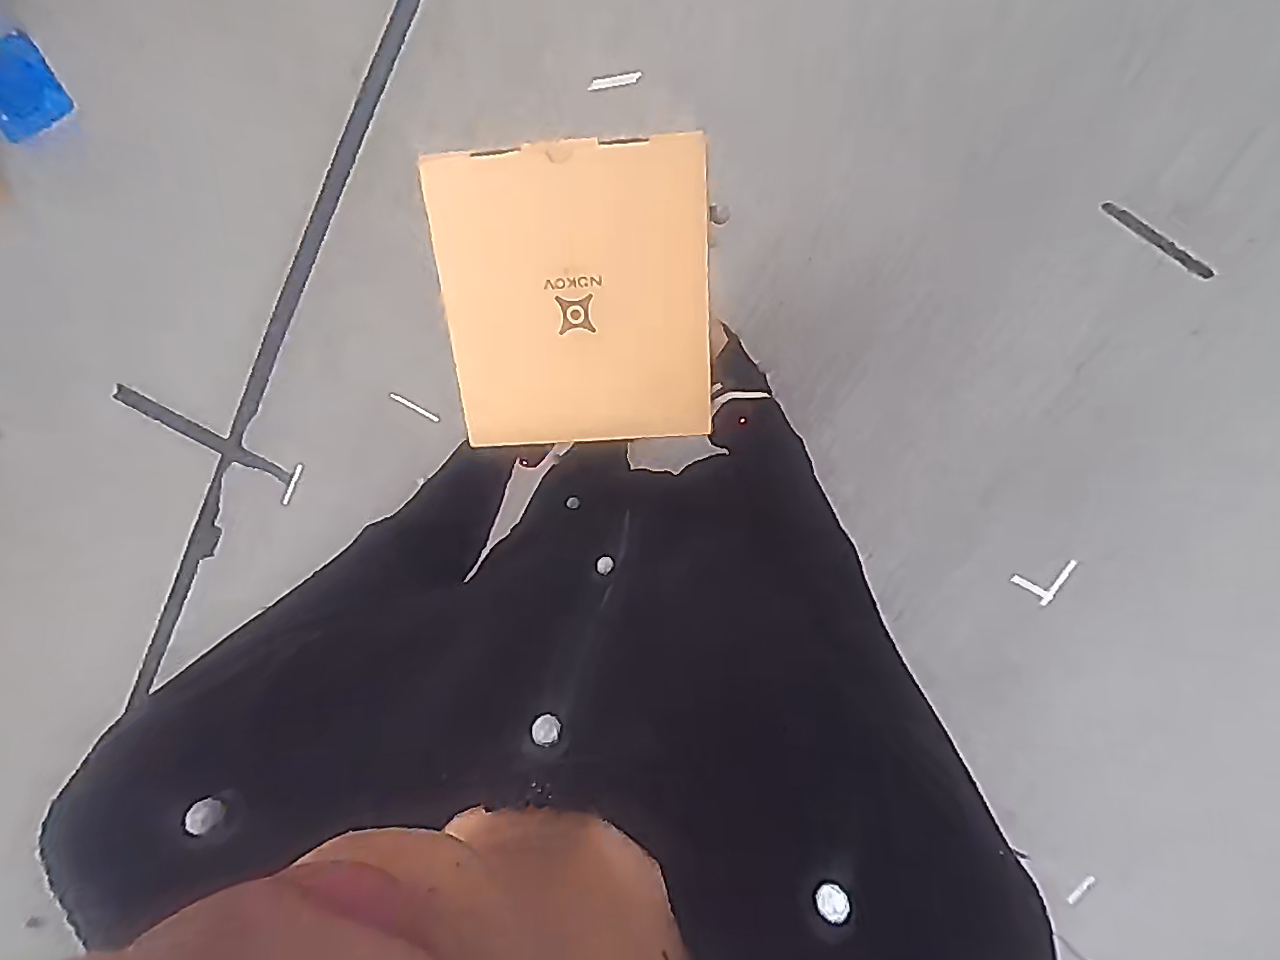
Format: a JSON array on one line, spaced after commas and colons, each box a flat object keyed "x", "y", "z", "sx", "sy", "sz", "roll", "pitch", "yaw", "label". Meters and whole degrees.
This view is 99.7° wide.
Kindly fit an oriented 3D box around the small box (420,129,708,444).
[{"x": -0.035, "y": -0.136, "z": 0.404, "sx": 0.168, "sy": 0.176, "sz": 0.179, "roll": -3, "pitch": 110, "yaw": 4, "label": "small box"}]
